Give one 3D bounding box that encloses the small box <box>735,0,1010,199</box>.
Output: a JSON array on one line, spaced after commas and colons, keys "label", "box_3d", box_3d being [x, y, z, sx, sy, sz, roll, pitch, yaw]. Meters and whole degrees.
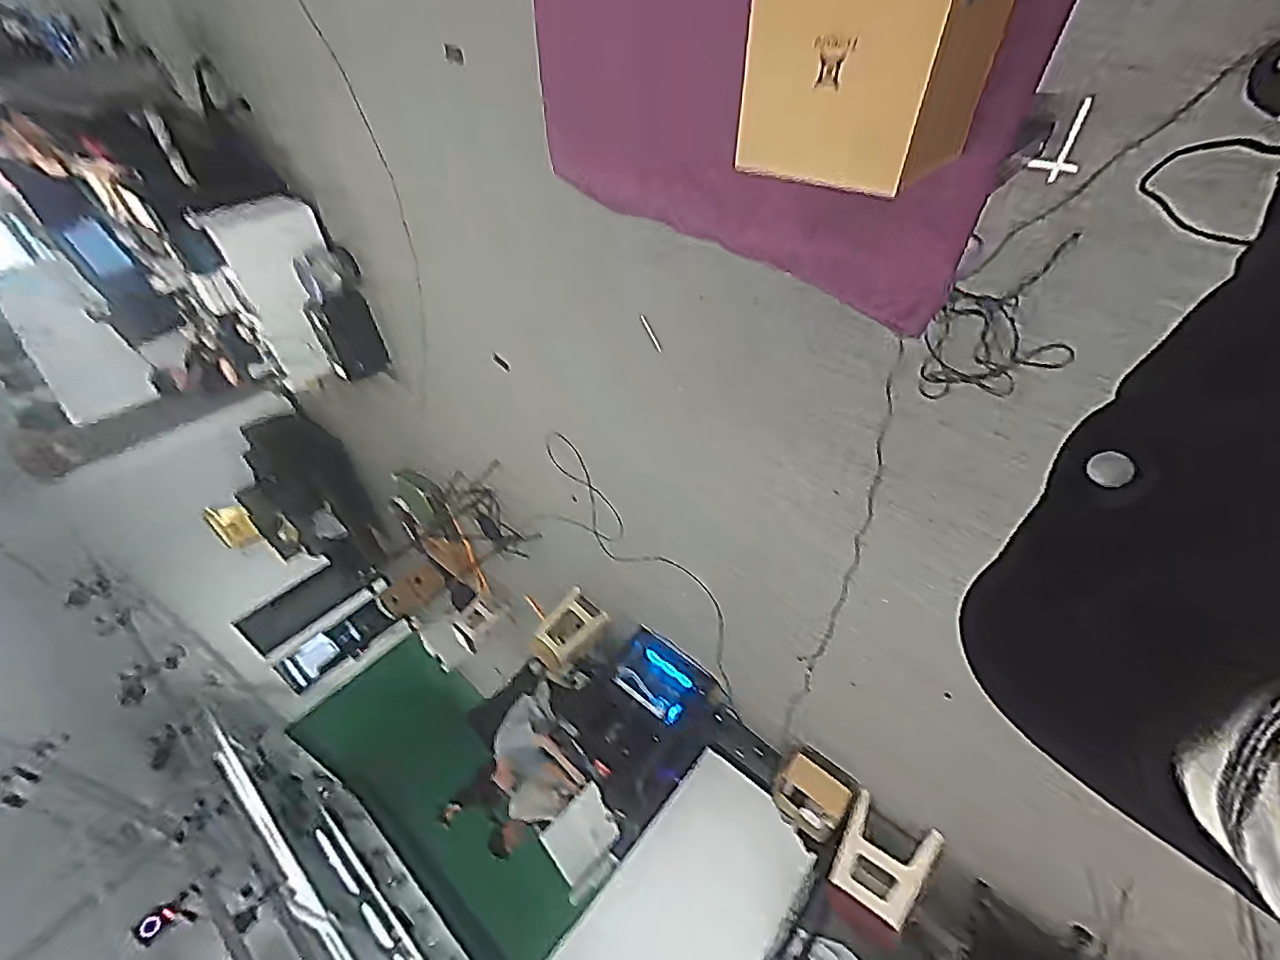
[{"label": "small box", "box_3d": [0.206, -0.380, 0.484, 0.168, 0.176, 0.179, 30, 141, 29]}]
